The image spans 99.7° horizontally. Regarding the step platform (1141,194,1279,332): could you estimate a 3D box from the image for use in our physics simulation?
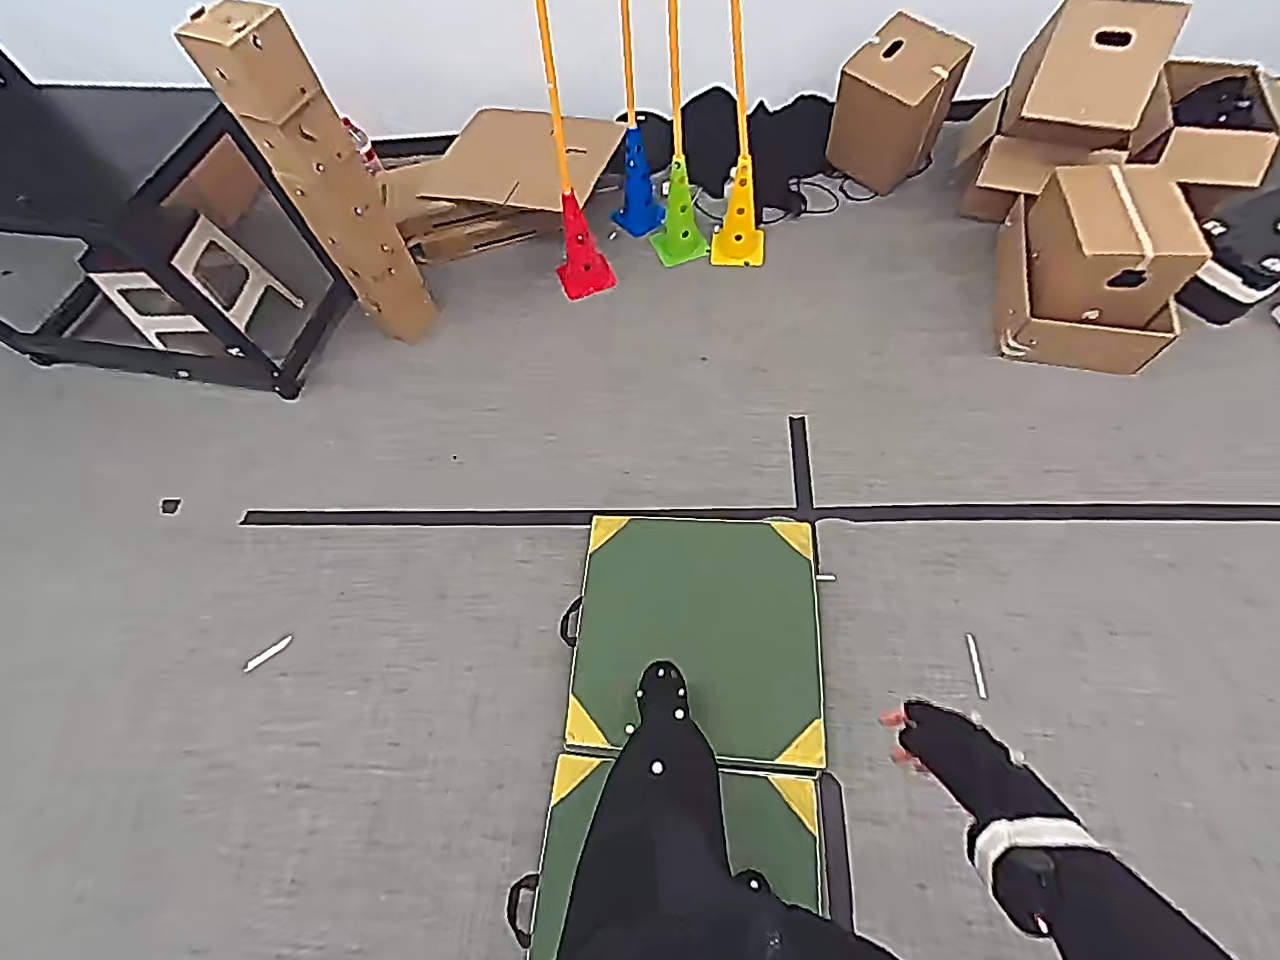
[{"bbox_3d":[2.085,-0.756,1.793,0.684,0.204,0.286,-25,62,-7],"label":"step platform"}]
